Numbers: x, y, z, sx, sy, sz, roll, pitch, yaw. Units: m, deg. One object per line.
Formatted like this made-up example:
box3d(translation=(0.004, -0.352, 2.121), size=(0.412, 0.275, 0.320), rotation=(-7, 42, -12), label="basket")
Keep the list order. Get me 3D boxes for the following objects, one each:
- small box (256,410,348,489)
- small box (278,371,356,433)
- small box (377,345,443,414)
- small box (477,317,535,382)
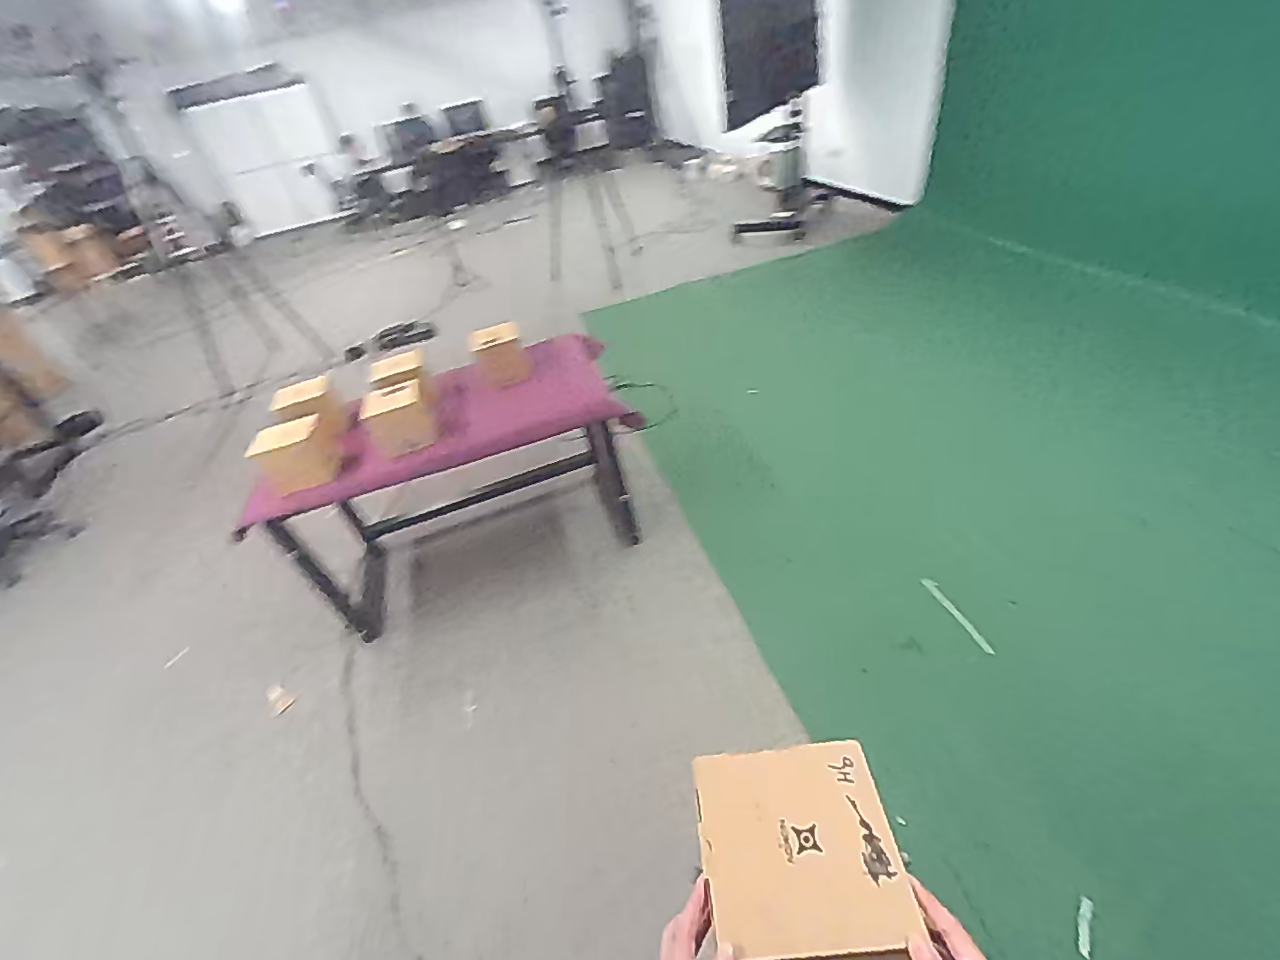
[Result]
box3d(translation=(-1.076, -0.094, 1.735), size=(0.179, 0.176, 0.168), rotation=(-18, 38, -7), label="small box")
box3d(translation=(-1.160, -0.262, 1.956), size=(0.179, 0.176, 0.168), rotation=(-20, 41, -9), label="small box")
box3d(translation=(-0.842, -0.370, 1.998), size=(0.179, 0.176, 0.168), rotation=(-20, 40, -7), label="small box")
box3d(translation=(-0.504, -0.485, 2.037), size=(0.168, 0.176, 0.179), rotation=(-18, 39, -6), label="small box")
